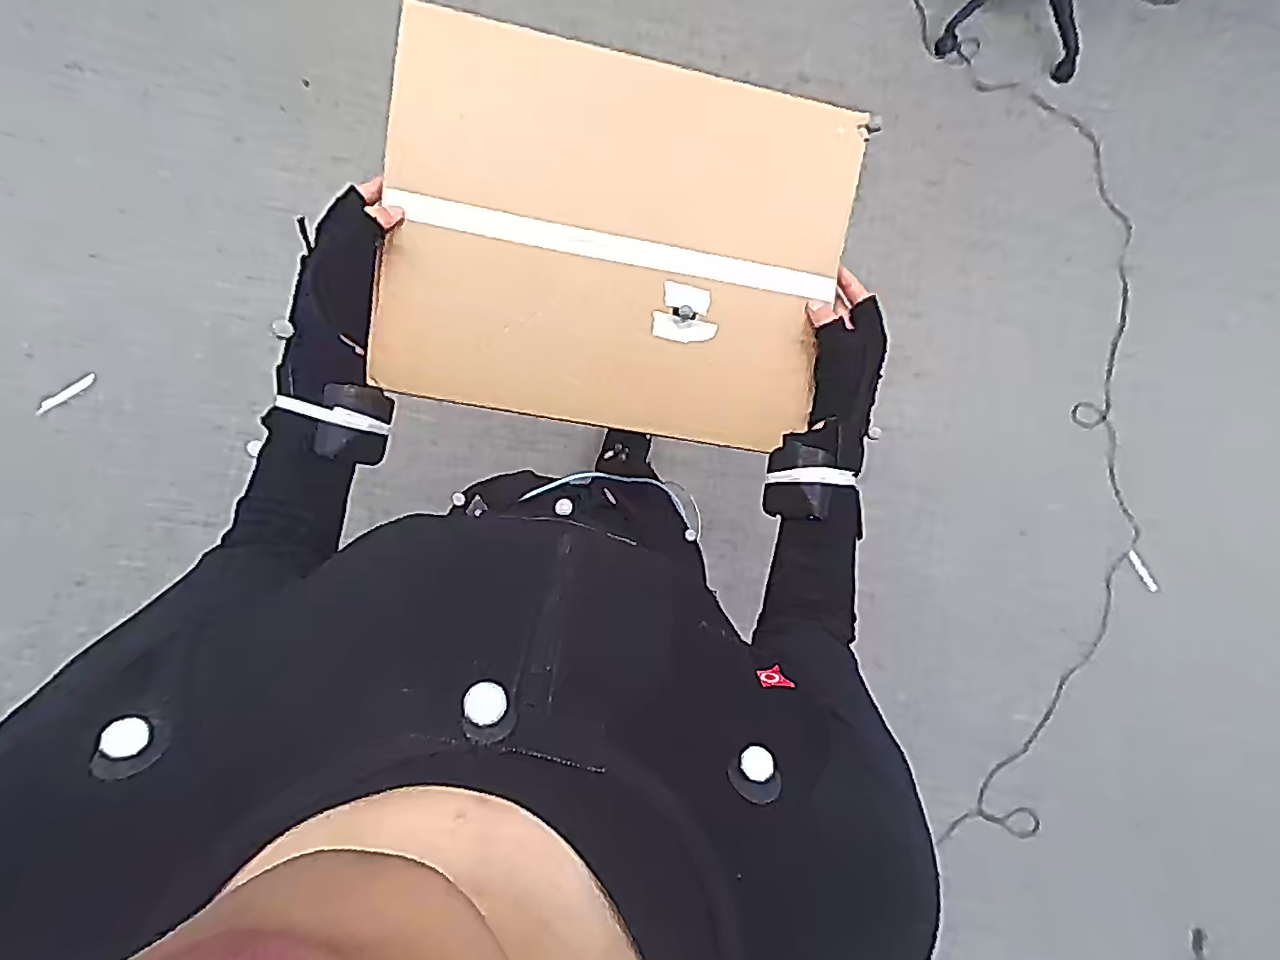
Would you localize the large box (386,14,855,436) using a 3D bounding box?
[{"bbox_3d":[-0.034,-0.237,0.638,0.408,0.320,0.320,8,98,-8],"label":"large box"}]
